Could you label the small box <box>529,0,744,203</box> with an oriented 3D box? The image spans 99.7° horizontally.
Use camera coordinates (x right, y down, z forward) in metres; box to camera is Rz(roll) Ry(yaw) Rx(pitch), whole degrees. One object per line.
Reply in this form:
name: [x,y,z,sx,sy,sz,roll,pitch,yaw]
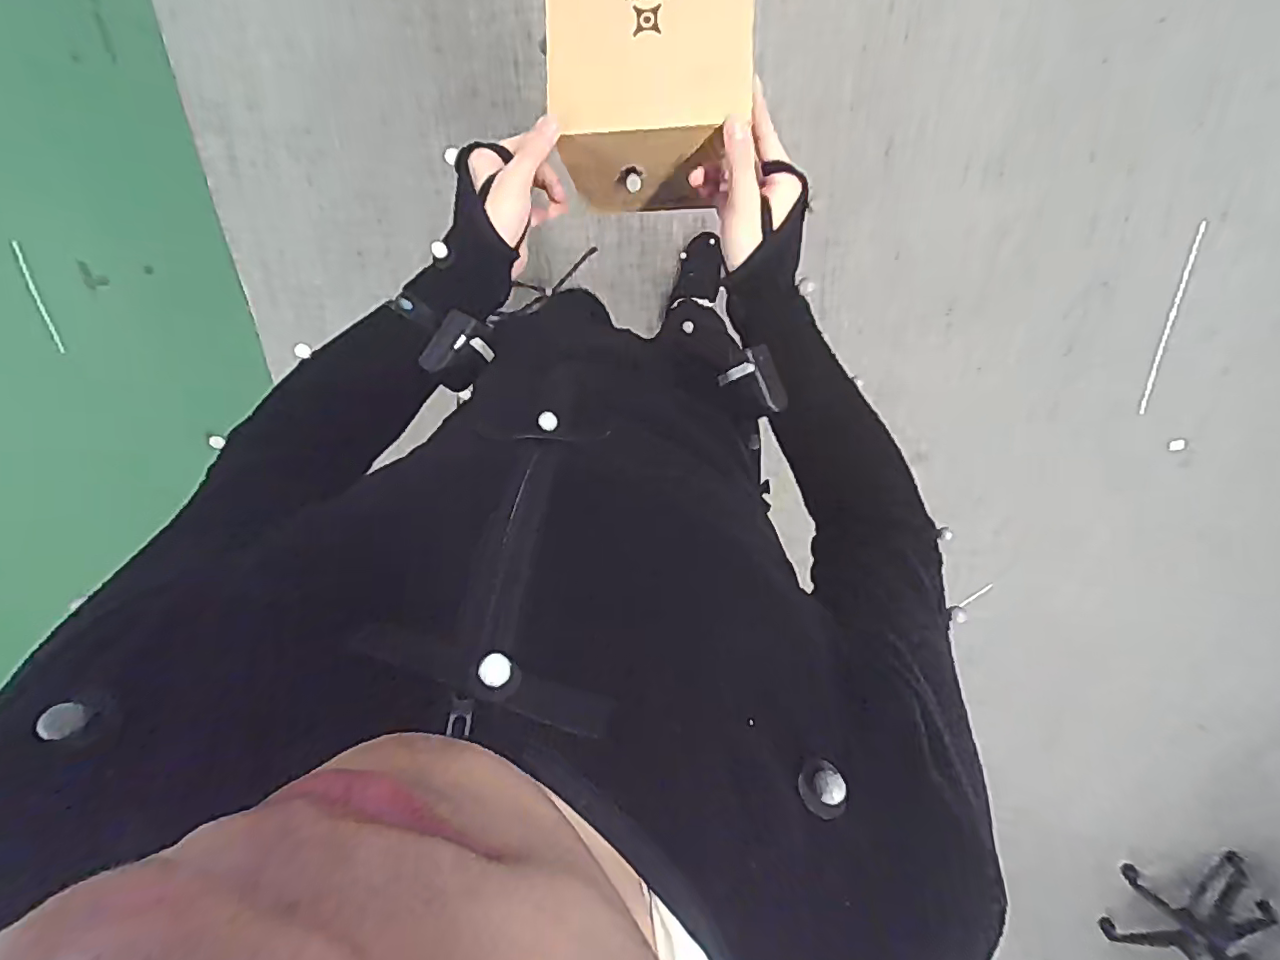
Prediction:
small box: [0.007,-0.366,0.484,0.168,0.176,0.179,1,95,7]
